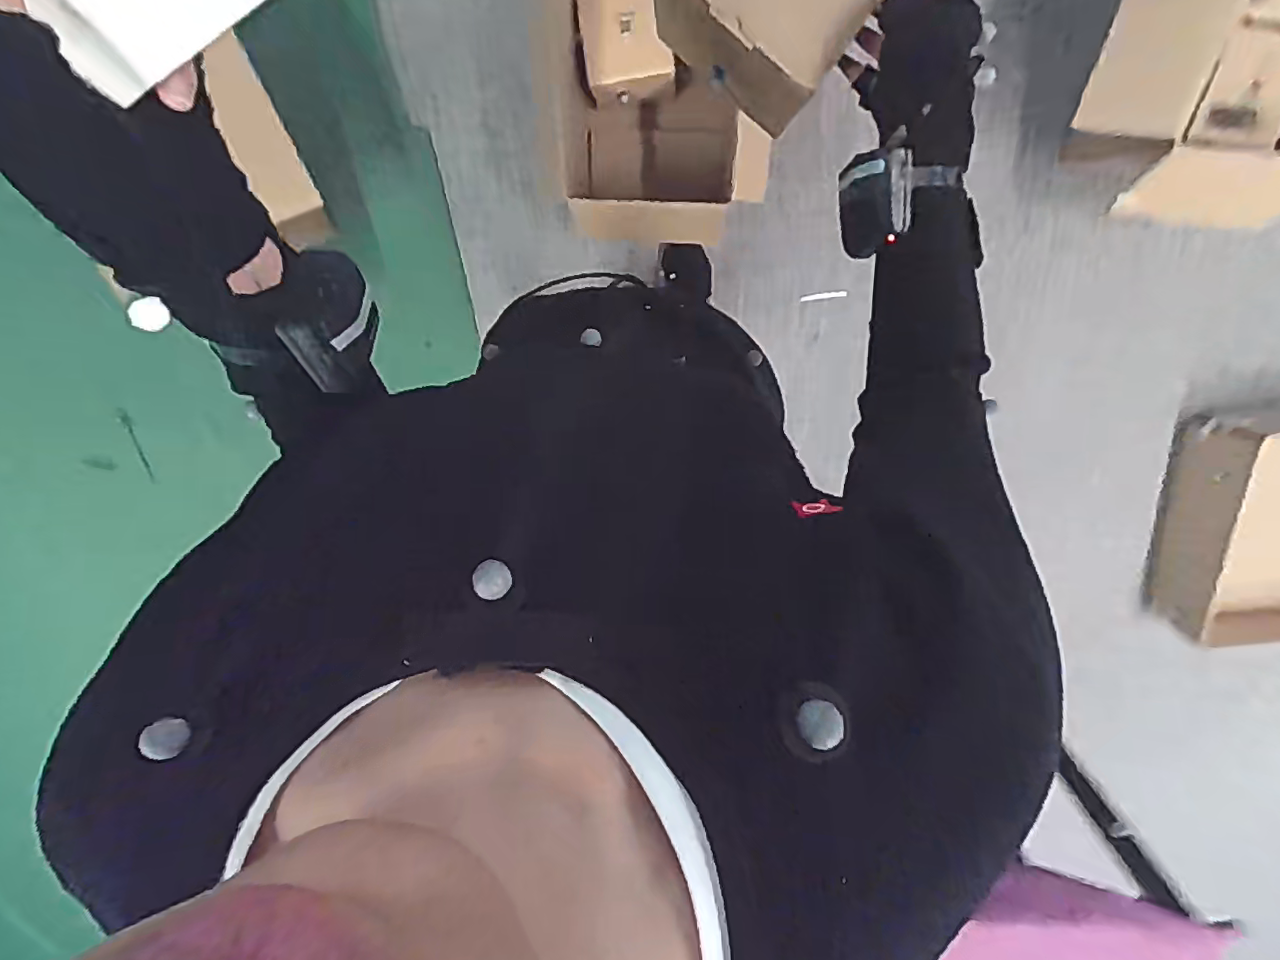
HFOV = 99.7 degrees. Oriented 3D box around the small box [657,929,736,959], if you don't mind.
[{"bbox_3d":[0.121,1.103,1.148,0.168,0.176,0.179,2,114,1],"label":"small box"}]
